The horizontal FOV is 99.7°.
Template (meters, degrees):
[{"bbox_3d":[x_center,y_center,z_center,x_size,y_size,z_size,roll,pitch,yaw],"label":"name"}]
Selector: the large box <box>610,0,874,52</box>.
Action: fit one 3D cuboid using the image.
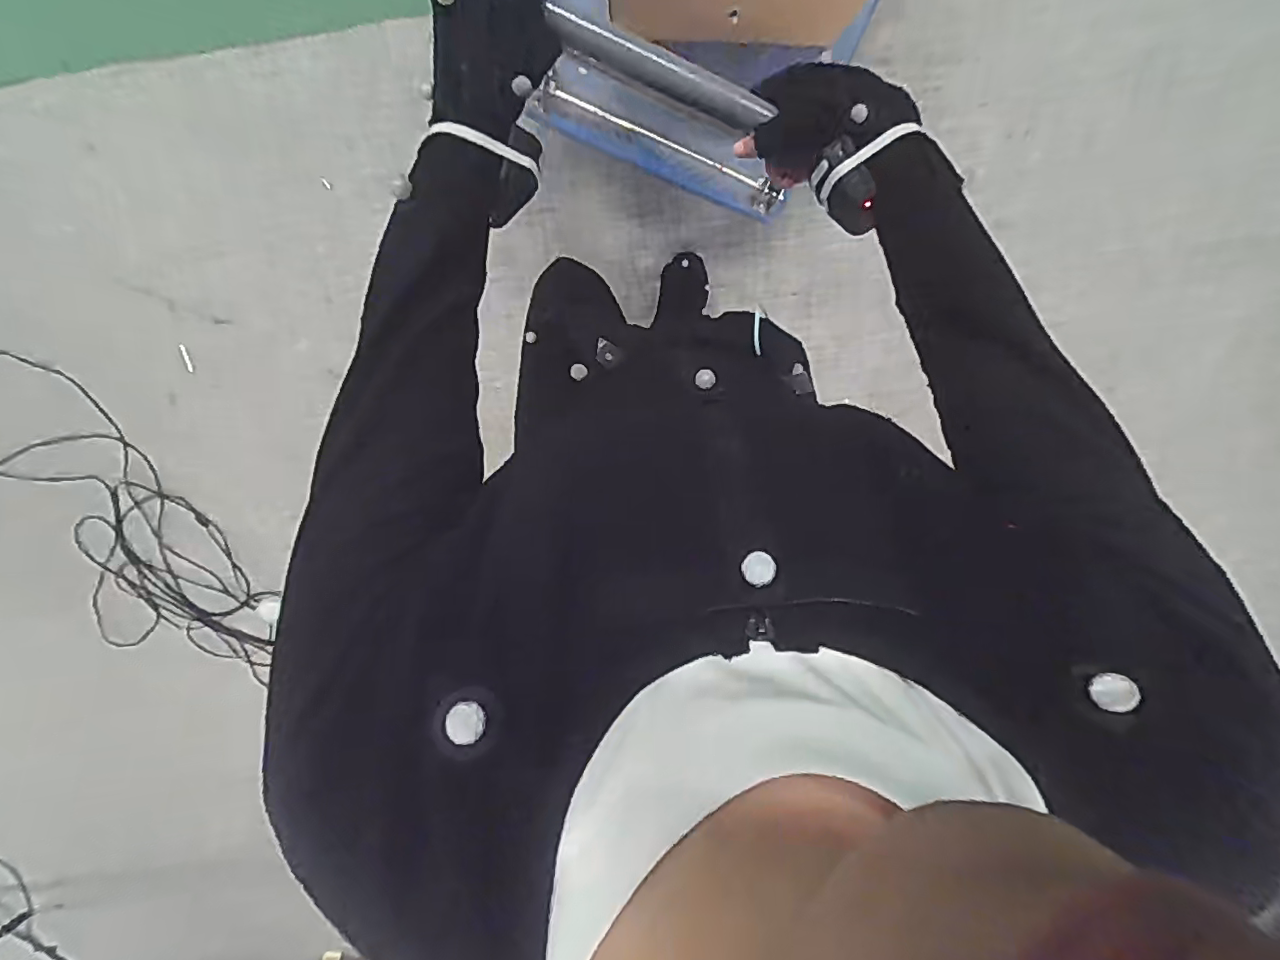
[{"bbox_3d":[0.159,-0.887,0.819,0.408,0.320,0.320,2,112,0],"label":"large box"}]
